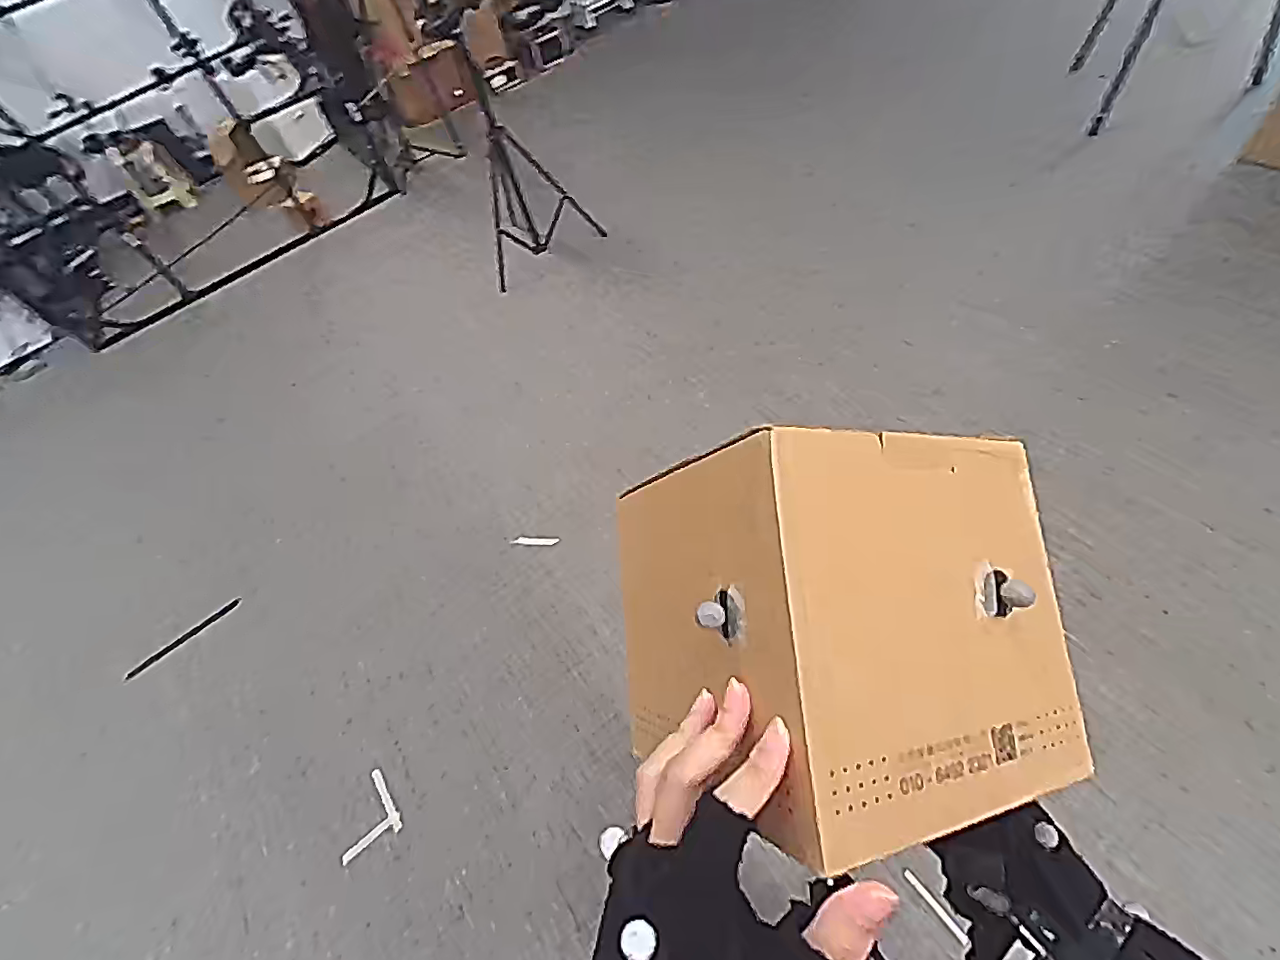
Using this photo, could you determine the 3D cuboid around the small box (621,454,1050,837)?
[{"bbox_3d":[0.099,0.086,0.327,0.168,0.179,0.176,0,78,-23],"label":"small box"}]
